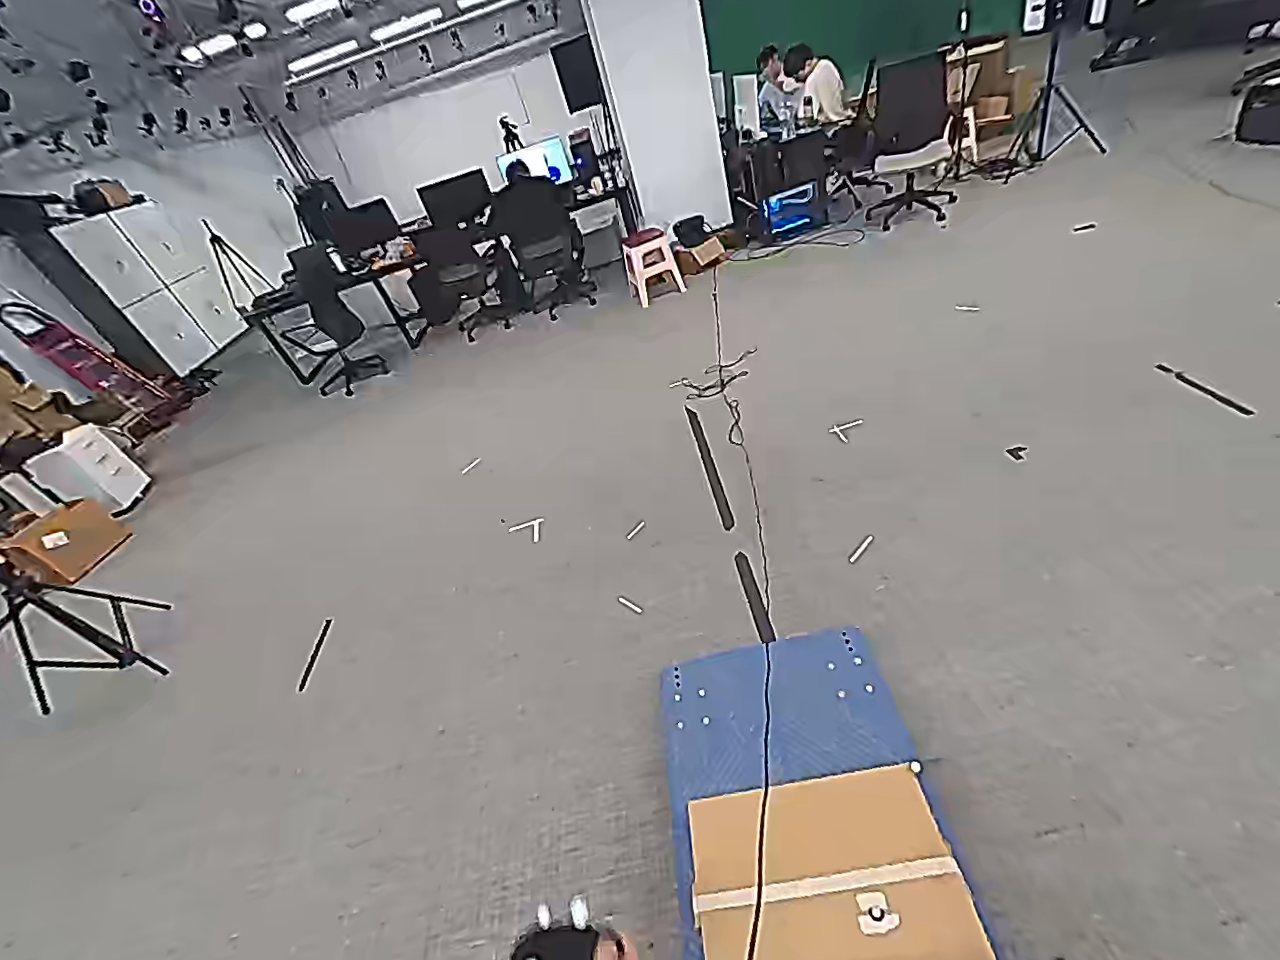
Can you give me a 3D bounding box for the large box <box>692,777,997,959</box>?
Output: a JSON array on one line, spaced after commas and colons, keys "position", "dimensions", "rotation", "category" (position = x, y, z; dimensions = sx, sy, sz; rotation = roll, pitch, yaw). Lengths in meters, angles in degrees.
[{"position": [0.328, 0.763, 0.912], "dimensions": [0.408, 0.320, 0.320], "rotation": [-14, 37, 7], "category": "large box"}]
